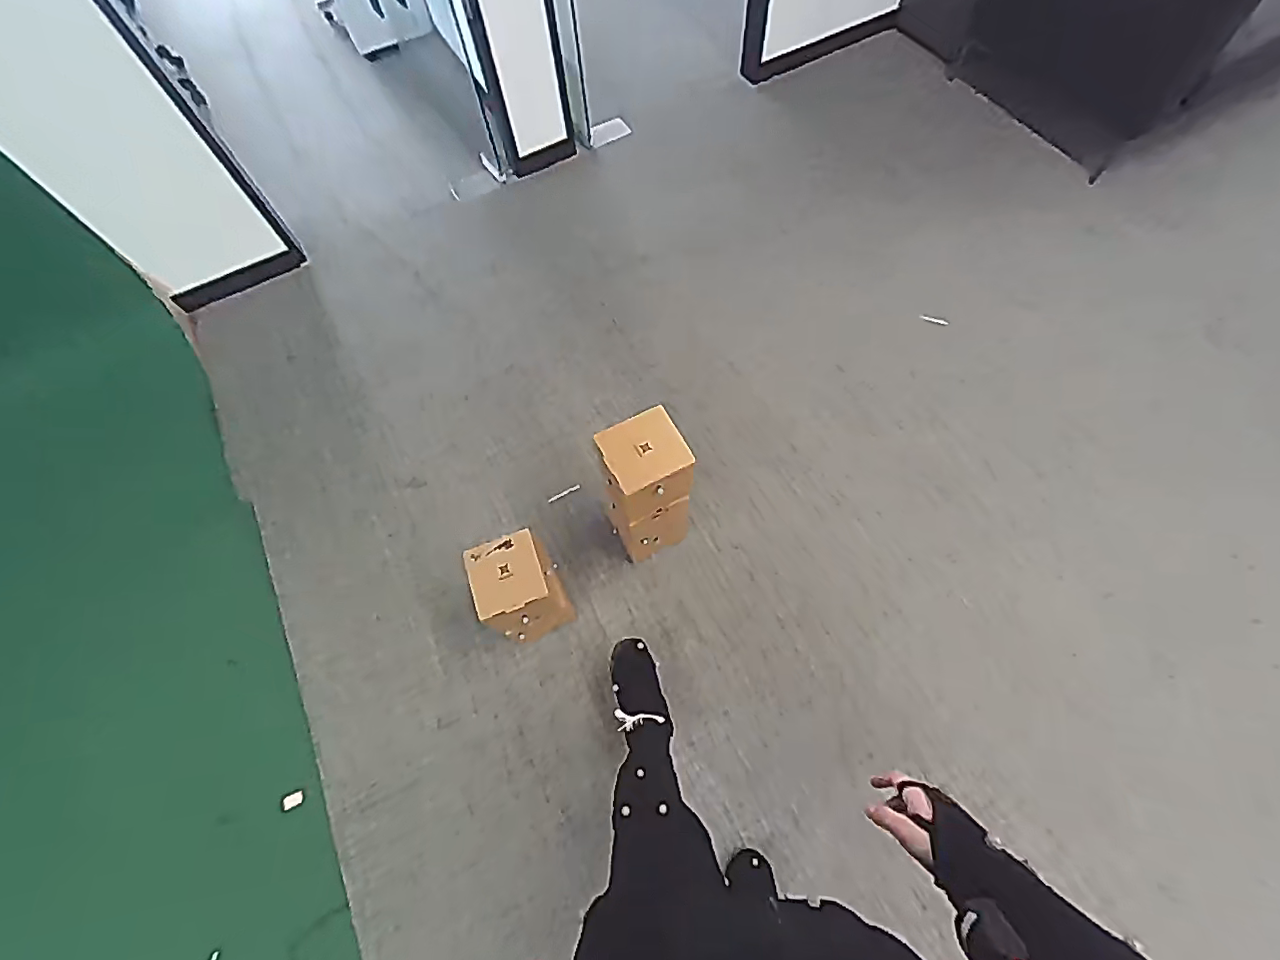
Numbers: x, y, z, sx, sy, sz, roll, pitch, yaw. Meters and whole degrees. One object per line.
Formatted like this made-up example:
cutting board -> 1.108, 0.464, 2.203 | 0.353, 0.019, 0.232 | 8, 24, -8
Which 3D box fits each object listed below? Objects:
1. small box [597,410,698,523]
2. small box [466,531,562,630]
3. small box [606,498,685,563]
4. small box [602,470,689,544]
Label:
small box -> 0.017, -0.027, 1.257 | 0.179, 0.176, 0.168 | -26, 66, -9
small box -> -0.301, 0.254, 1.322 | 0.168, 0.176, 0.179 | -20, 65, -7
small box -> 0.022, 0.117, 1.550 | 0.179, 0.176, 0.168 | -26, 66, -9
small box -> 0.018, 0.048, 1.401 | 0.168, 0.176, 0.179 | -25, 65, -9
